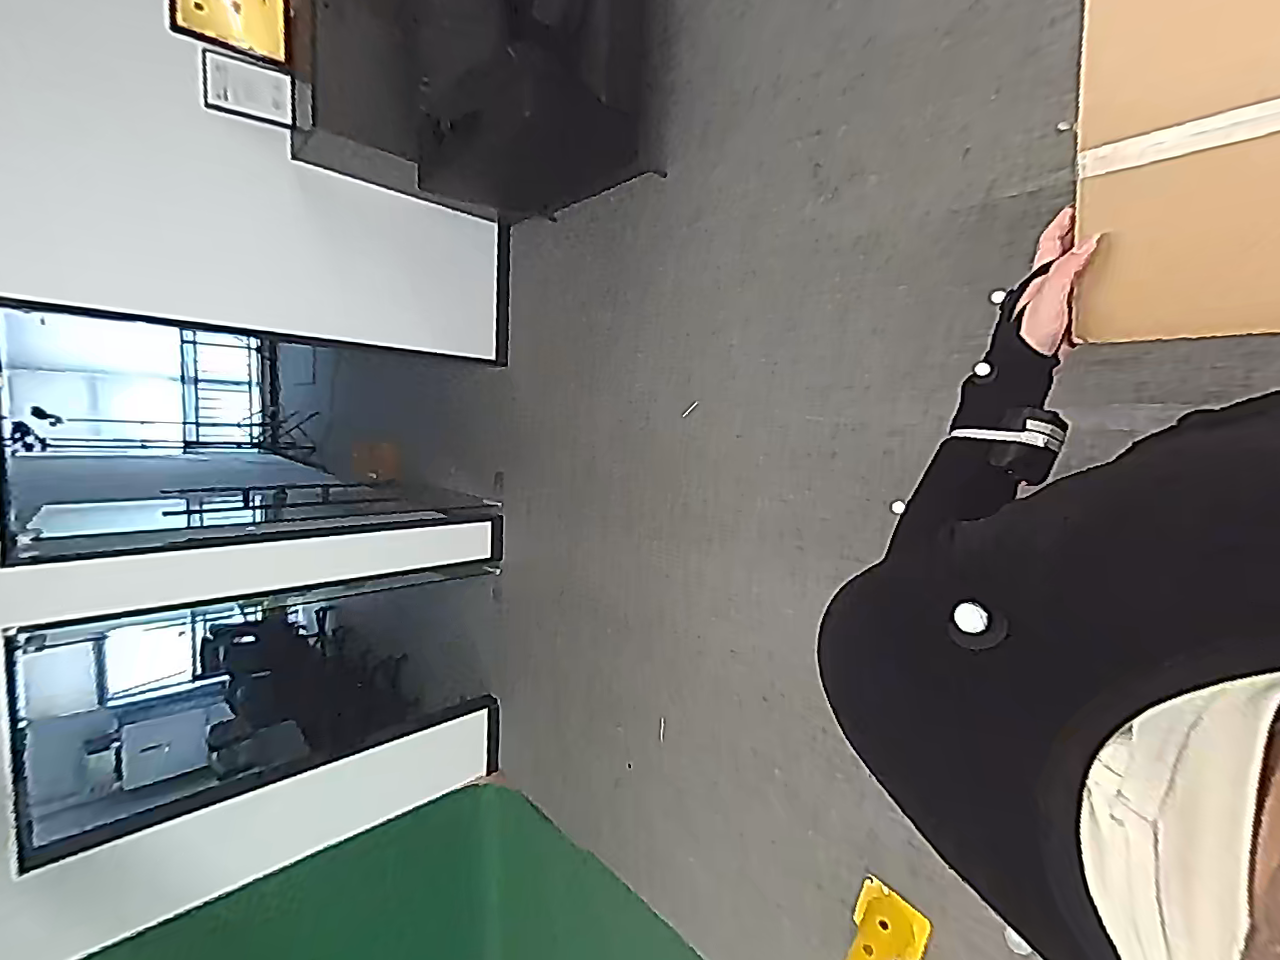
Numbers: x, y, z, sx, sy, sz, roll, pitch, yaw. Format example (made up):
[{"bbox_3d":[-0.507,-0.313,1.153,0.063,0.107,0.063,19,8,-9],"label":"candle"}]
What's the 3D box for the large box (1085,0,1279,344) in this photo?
[{"bbox_3d":[0.629,-0.308,0.415,0.408,0.320,0.320,8,117,48],"label":"large box"}]
